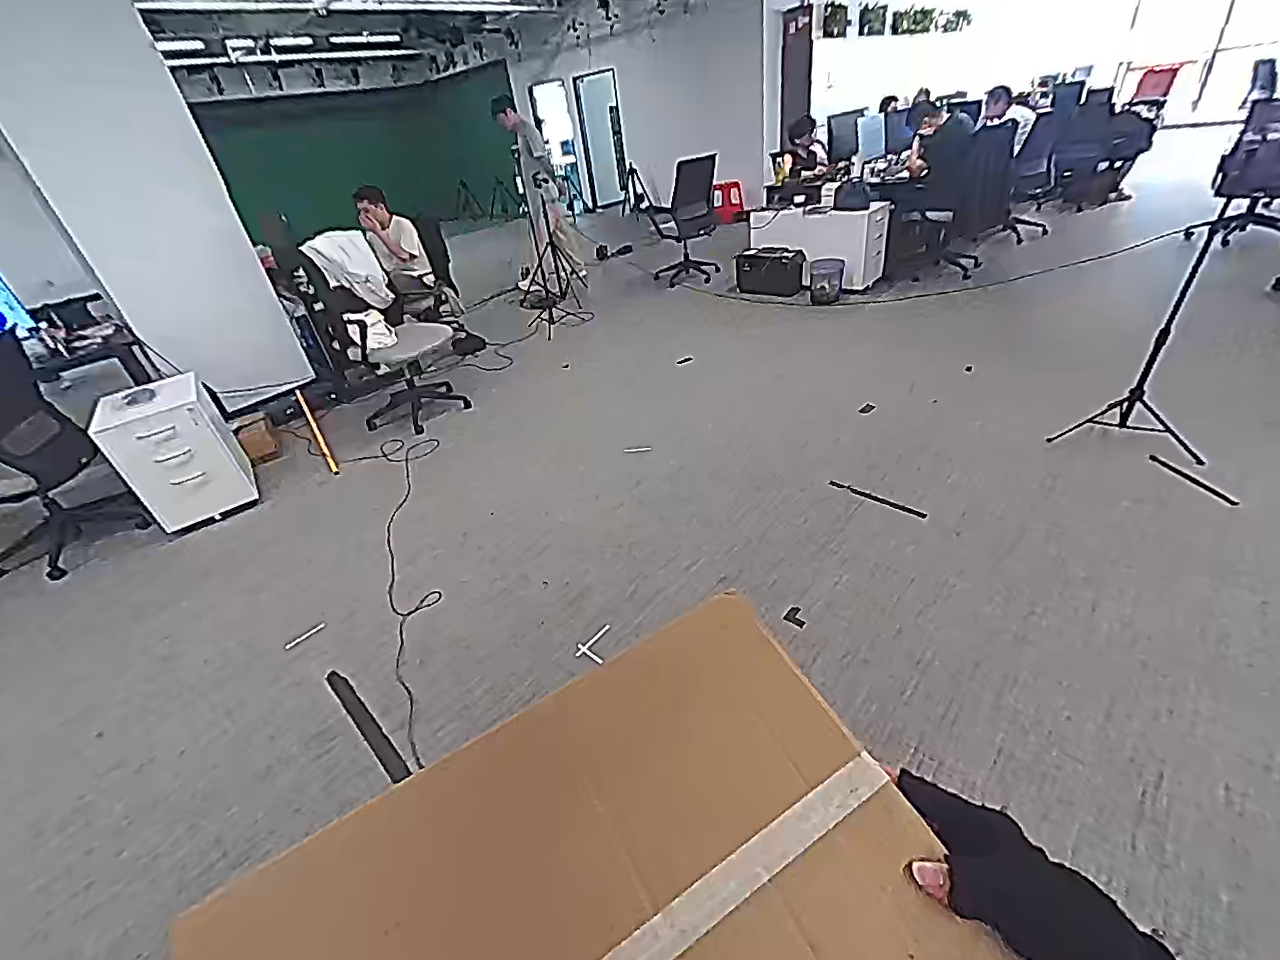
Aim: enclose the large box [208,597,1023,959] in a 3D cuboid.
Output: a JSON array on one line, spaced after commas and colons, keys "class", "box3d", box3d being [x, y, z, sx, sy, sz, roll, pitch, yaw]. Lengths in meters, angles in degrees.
[{"class": "large box", "box3d": [-0.011, 0.373, 0.421, 0.408, 0.320, 0.320, -26, 56, -18]}]
